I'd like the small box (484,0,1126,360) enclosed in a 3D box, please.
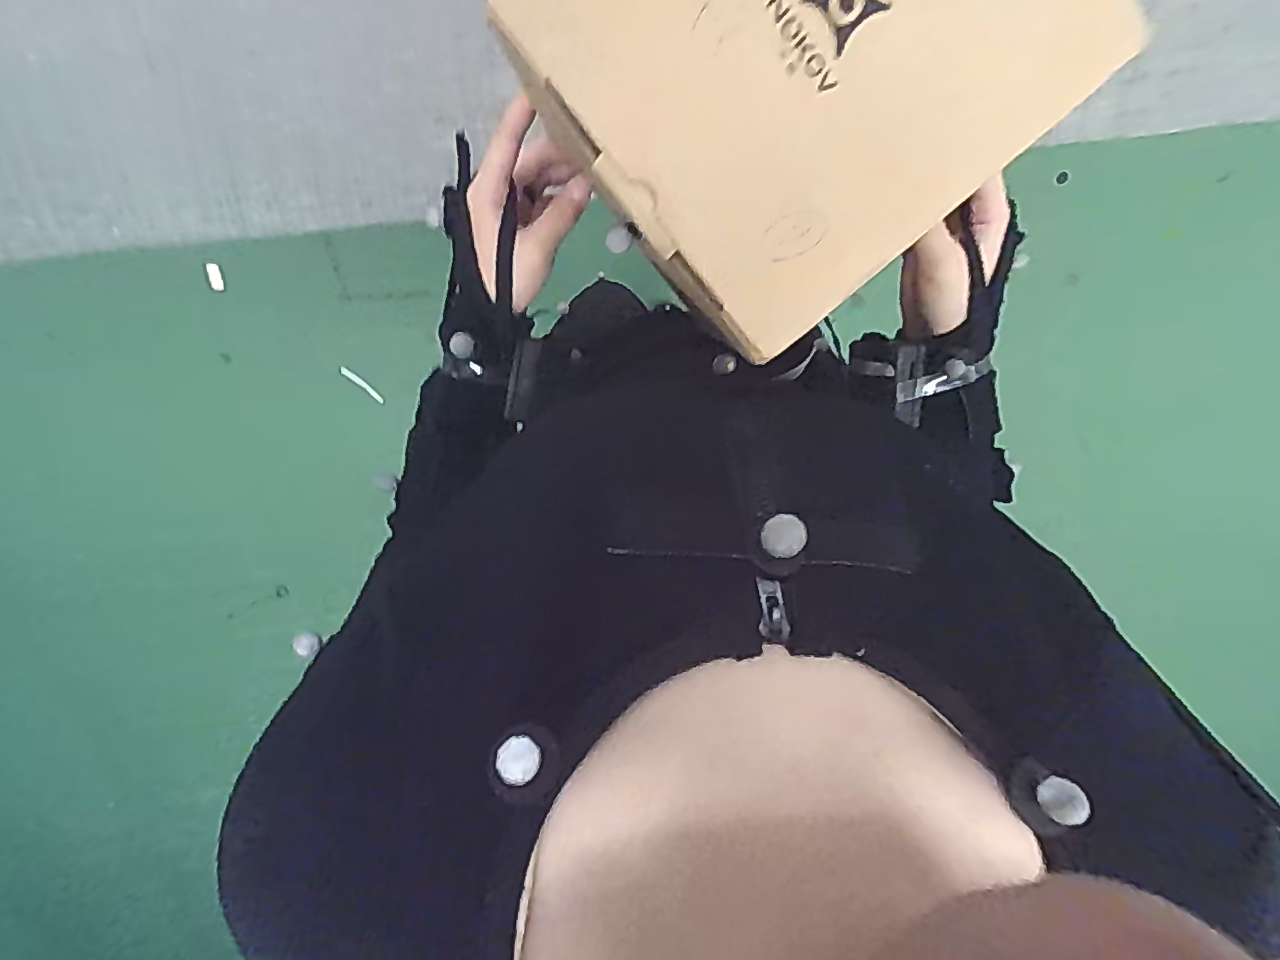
[{"bbox_3d":[0.060,-0.186,0.269,0.179,0.176,0.168,-39,106,13],"label":"small box"}]
